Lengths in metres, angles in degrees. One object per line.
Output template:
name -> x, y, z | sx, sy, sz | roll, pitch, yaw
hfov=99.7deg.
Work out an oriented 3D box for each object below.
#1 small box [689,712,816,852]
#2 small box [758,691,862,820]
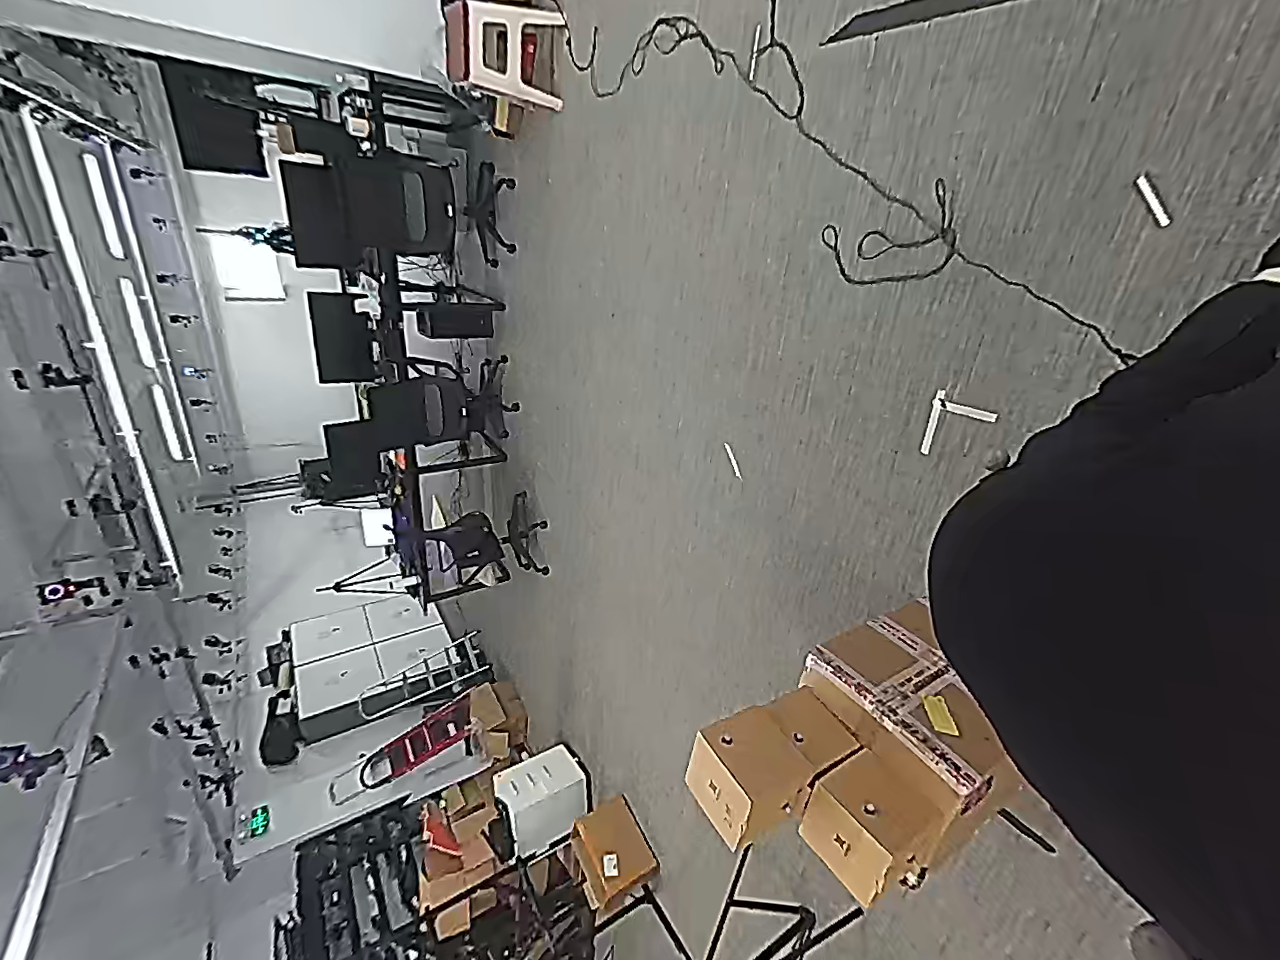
small box -> 0.231, 0.614, 1.128 | 0.179, 0.176, 0.168 | 42, 132, 48
small box -> 0.366, 0.613, 1.226 | 0.179, 0.176, 0.168 | 46, 134, 46
